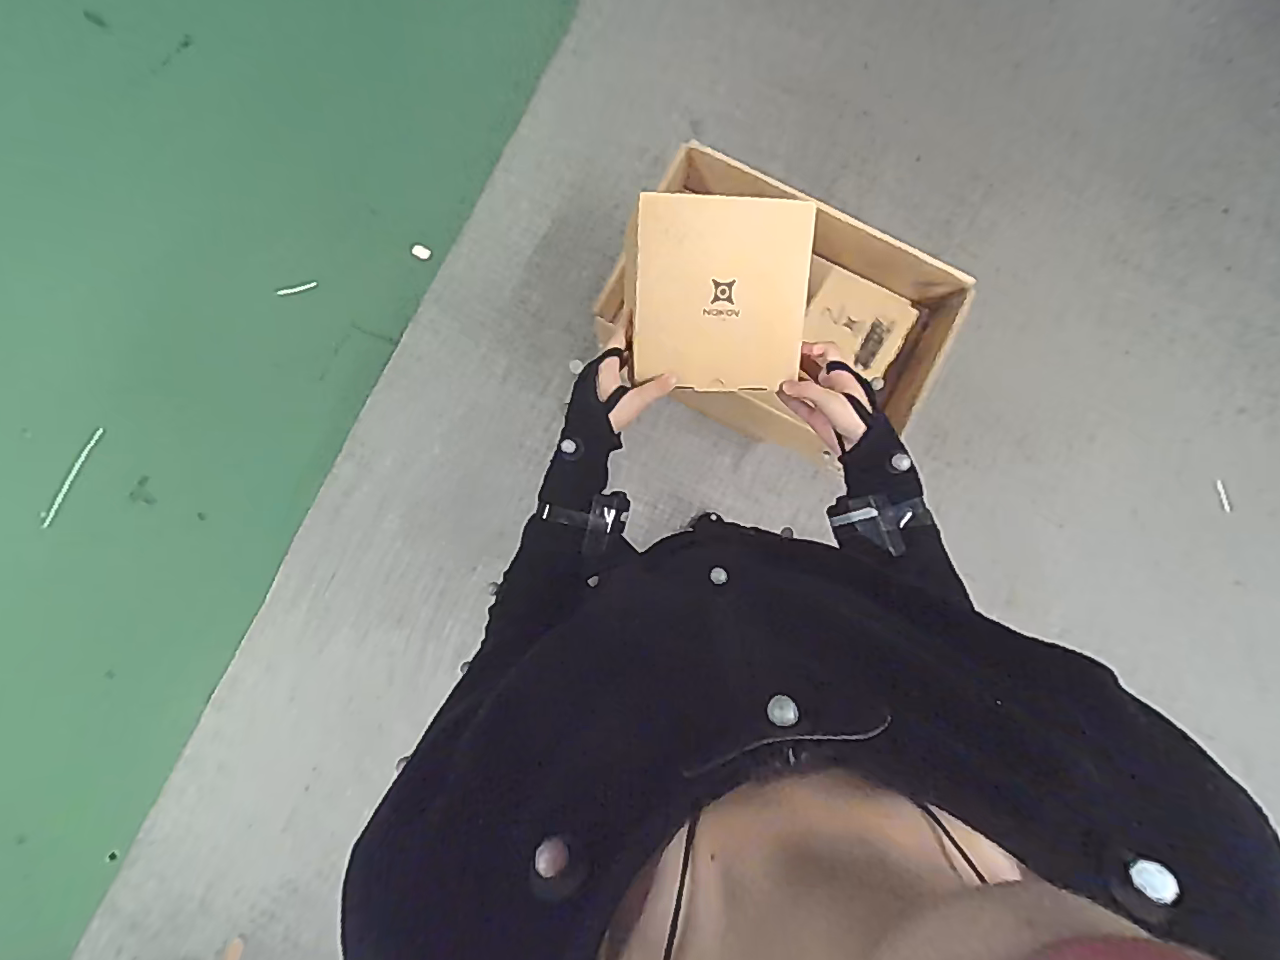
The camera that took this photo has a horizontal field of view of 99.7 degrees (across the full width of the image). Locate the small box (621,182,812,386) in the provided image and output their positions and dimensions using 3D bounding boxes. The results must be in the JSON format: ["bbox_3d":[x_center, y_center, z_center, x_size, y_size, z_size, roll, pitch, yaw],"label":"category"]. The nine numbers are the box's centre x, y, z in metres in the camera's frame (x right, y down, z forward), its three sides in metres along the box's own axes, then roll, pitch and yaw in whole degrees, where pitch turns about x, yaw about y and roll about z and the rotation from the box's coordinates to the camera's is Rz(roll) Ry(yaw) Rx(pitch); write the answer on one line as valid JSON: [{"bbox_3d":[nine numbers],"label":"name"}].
[{"bbox_3d":[0.066,-0.197,0.578,0.168,0.176,0.179,0,105,-5],"label":"small box"}]
